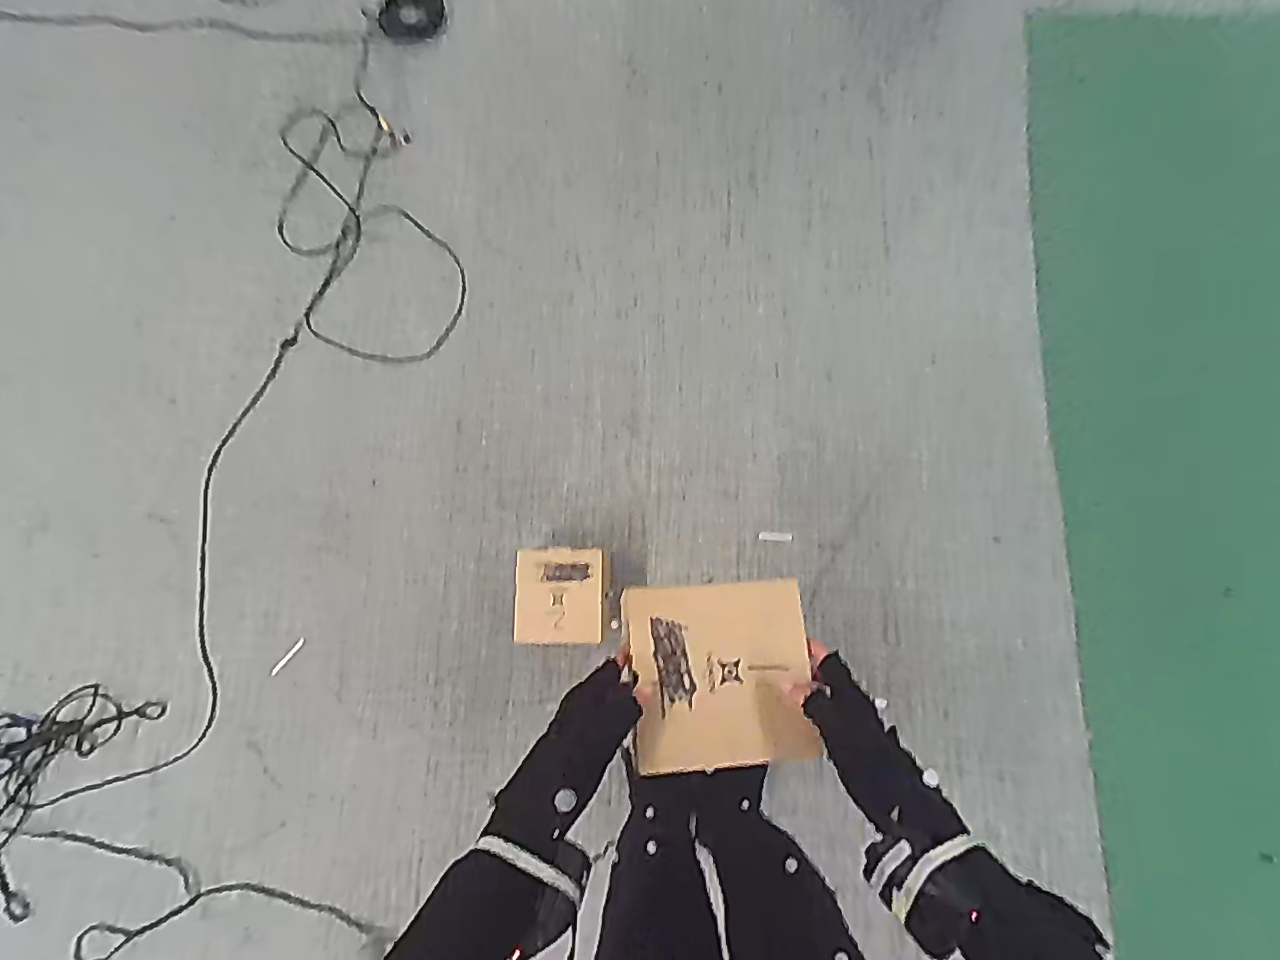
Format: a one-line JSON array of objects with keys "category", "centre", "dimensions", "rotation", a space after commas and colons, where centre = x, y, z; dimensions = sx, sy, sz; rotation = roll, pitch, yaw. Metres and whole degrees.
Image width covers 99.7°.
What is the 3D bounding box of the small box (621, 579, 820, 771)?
[{"category": "small box", "centre": [0.070, 0.201, 0.585], "dimensions": [0.179, 0.176, 0.168], "rotation": [-3, 75, -5]}]
